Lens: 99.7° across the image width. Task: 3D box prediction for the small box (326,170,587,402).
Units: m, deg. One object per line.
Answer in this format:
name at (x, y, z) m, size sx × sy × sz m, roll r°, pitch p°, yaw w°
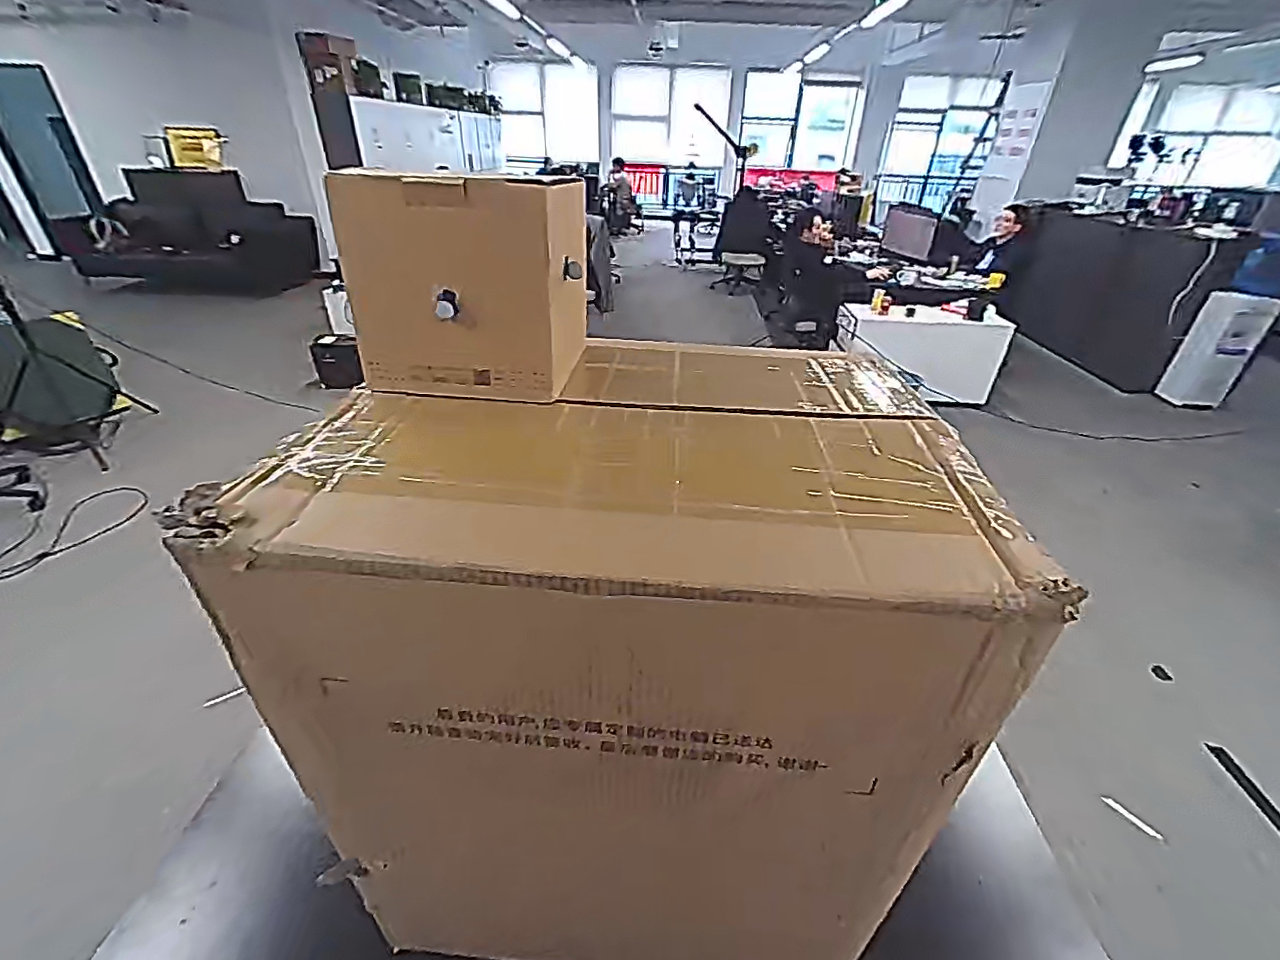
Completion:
small box at (-0.140, -0.180, 0.493) m, size 0.168 × 0.176 × 0.179 m, roll 4°, pitch 31°, yaw 2°
